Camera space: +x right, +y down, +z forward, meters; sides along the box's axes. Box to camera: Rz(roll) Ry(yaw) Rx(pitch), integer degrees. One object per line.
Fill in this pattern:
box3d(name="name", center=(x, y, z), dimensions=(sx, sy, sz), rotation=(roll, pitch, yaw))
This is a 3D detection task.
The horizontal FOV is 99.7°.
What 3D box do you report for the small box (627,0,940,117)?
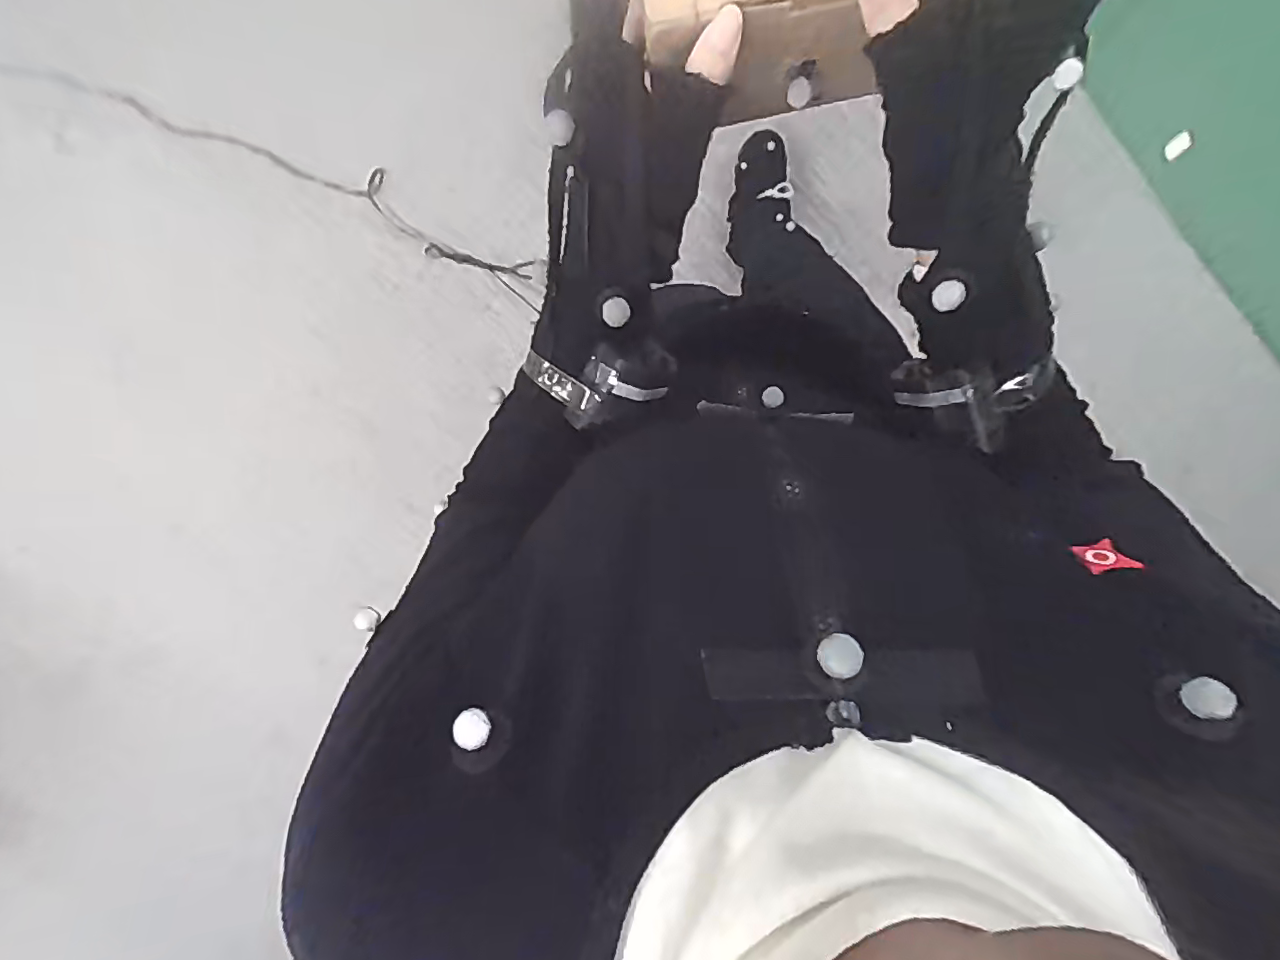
box3d(name="small box", center=(0.068, -0.315, 0.278), dimensions=(0.168, 0.176, 0.179), rotation=(-9, 108, 7))
